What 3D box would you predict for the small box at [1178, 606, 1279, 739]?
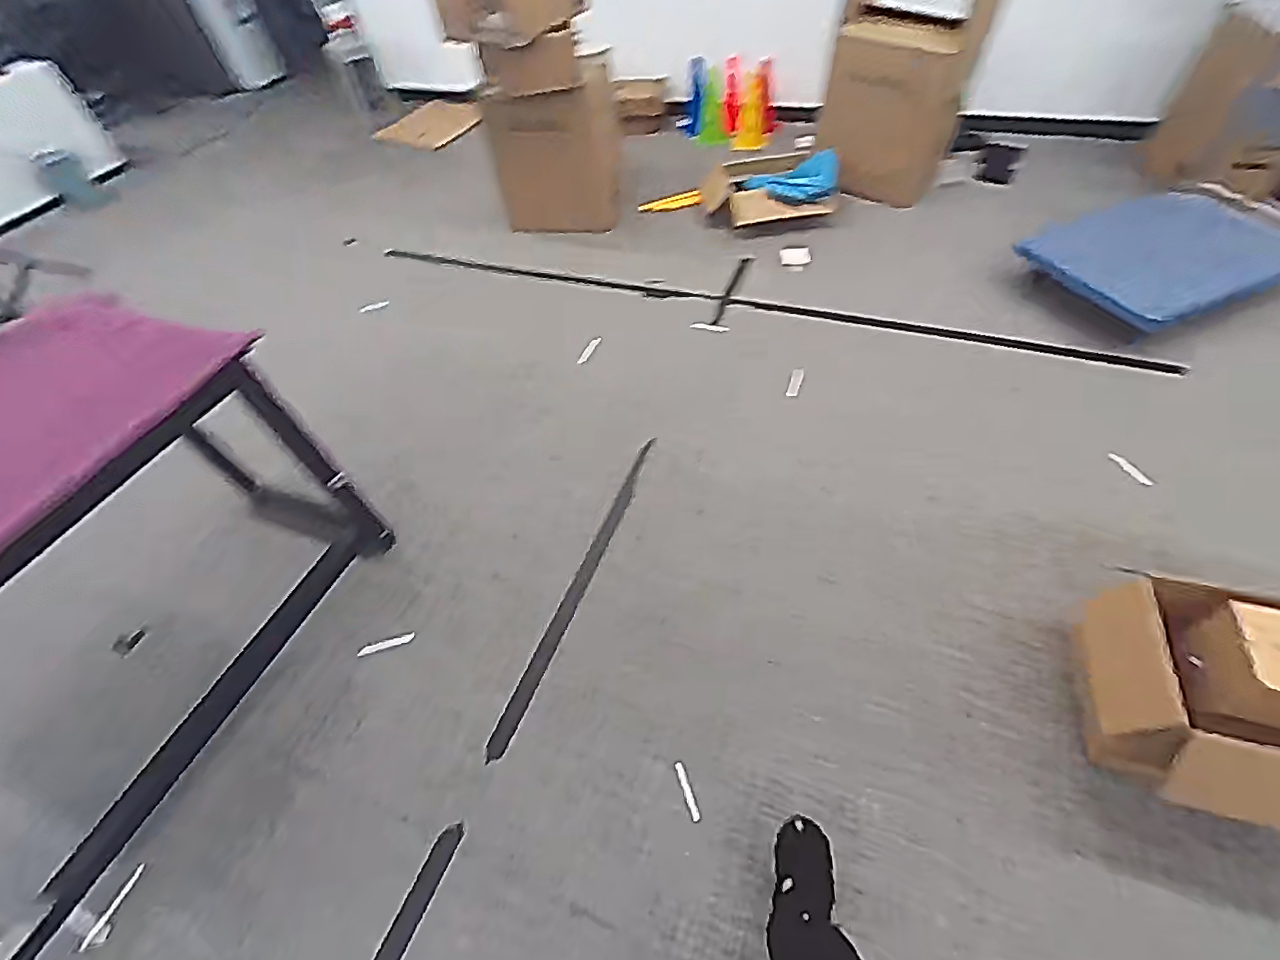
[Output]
[{"bbox_3d":[1.168,0.362,0.998,0.179,0.176,0.168,13,54,16],"label":"small box"}]
